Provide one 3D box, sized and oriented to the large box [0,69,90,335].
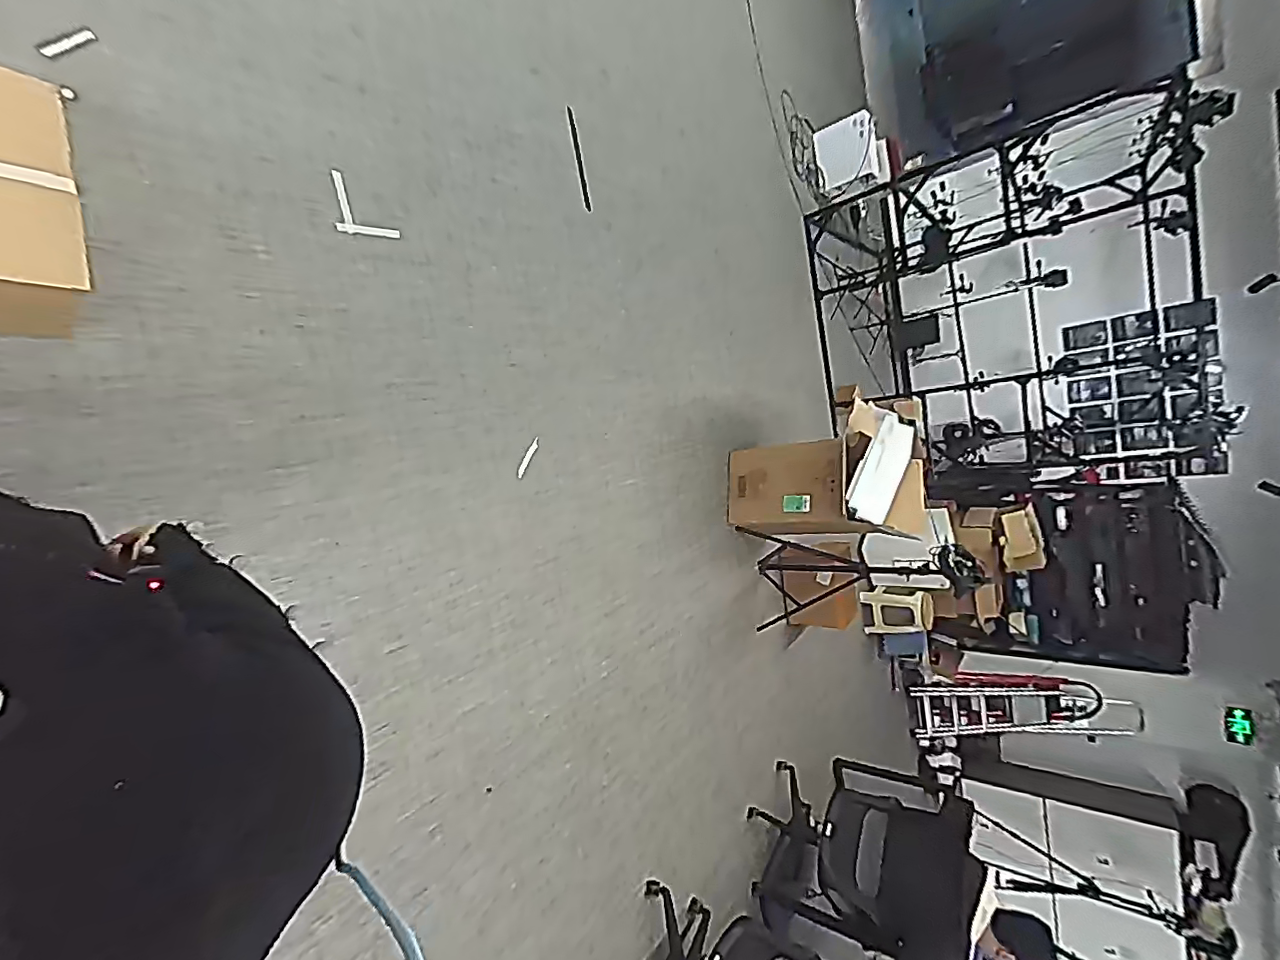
[{"bbox_3d":[-1.101,-0.409,0.758,0.408,0.320,0.320,-9,93,-52],"label":"large box"}]
